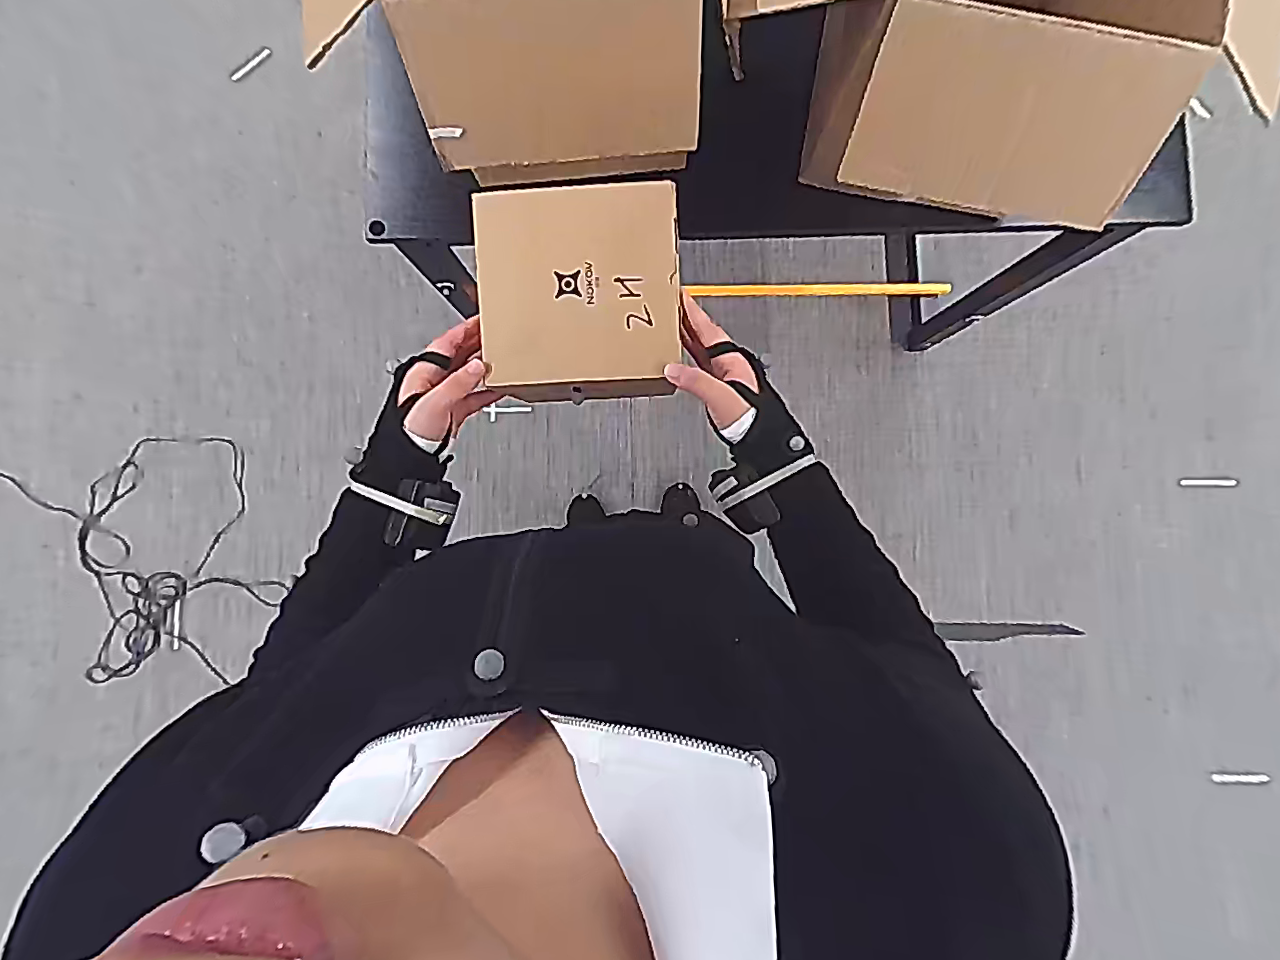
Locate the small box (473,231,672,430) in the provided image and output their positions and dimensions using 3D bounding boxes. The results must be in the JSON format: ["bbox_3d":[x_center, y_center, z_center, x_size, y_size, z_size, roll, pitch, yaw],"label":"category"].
[{"bbox_3d":[-0.057,-0.139,0.560,0.179,0.176,0.168,-2,94,1],"label":"small box"}]
